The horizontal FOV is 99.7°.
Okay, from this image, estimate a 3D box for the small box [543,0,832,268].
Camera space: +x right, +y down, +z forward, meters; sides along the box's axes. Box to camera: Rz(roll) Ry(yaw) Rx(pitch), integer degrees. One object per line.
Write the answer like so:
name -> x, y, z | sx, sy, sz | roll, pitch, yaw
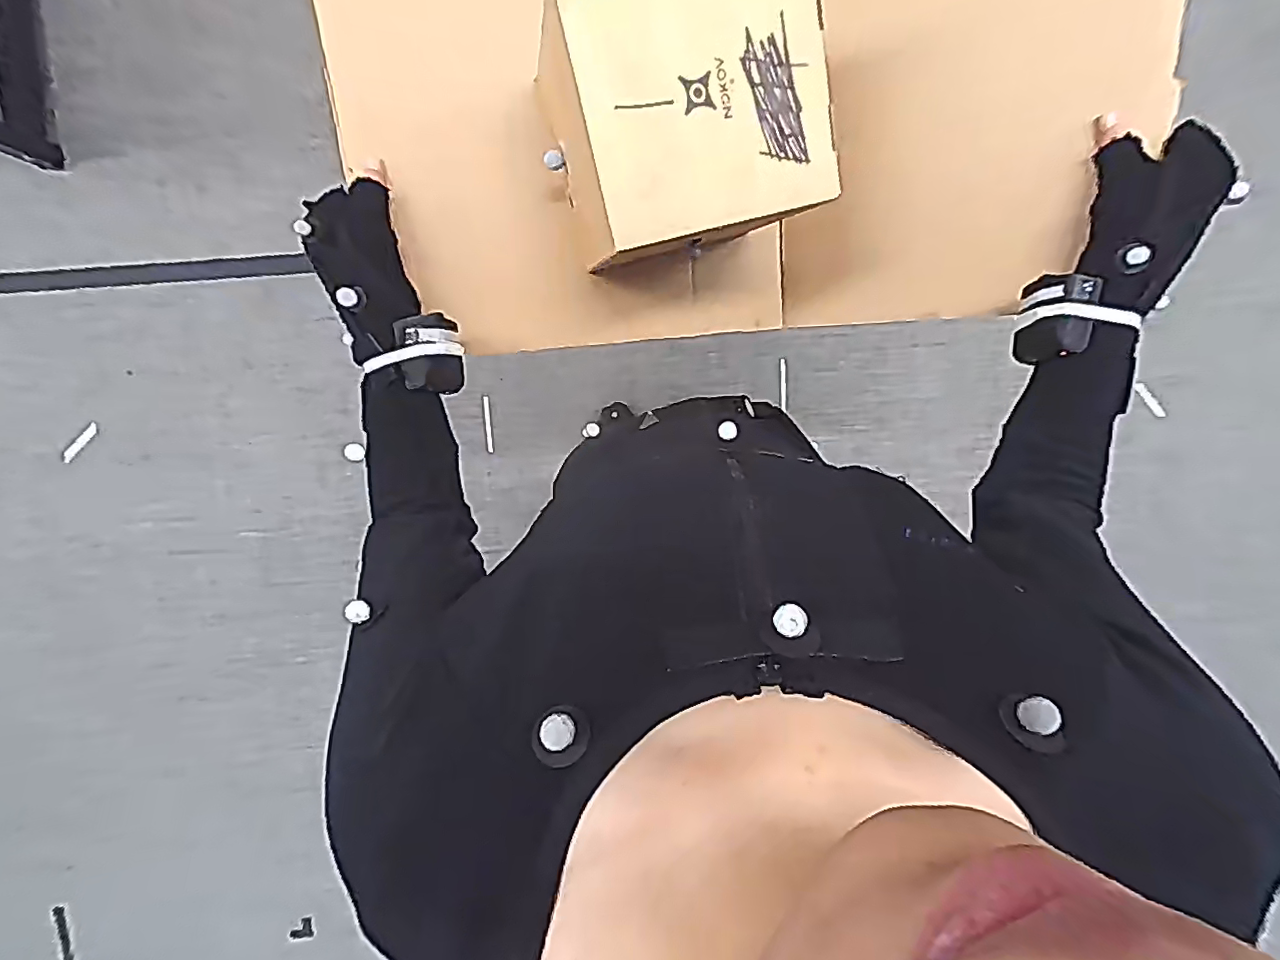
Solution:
small box -> 0.028, -0.283, 0.444 | 0.179, 0.176, 0.168 | -17, 109, -8
